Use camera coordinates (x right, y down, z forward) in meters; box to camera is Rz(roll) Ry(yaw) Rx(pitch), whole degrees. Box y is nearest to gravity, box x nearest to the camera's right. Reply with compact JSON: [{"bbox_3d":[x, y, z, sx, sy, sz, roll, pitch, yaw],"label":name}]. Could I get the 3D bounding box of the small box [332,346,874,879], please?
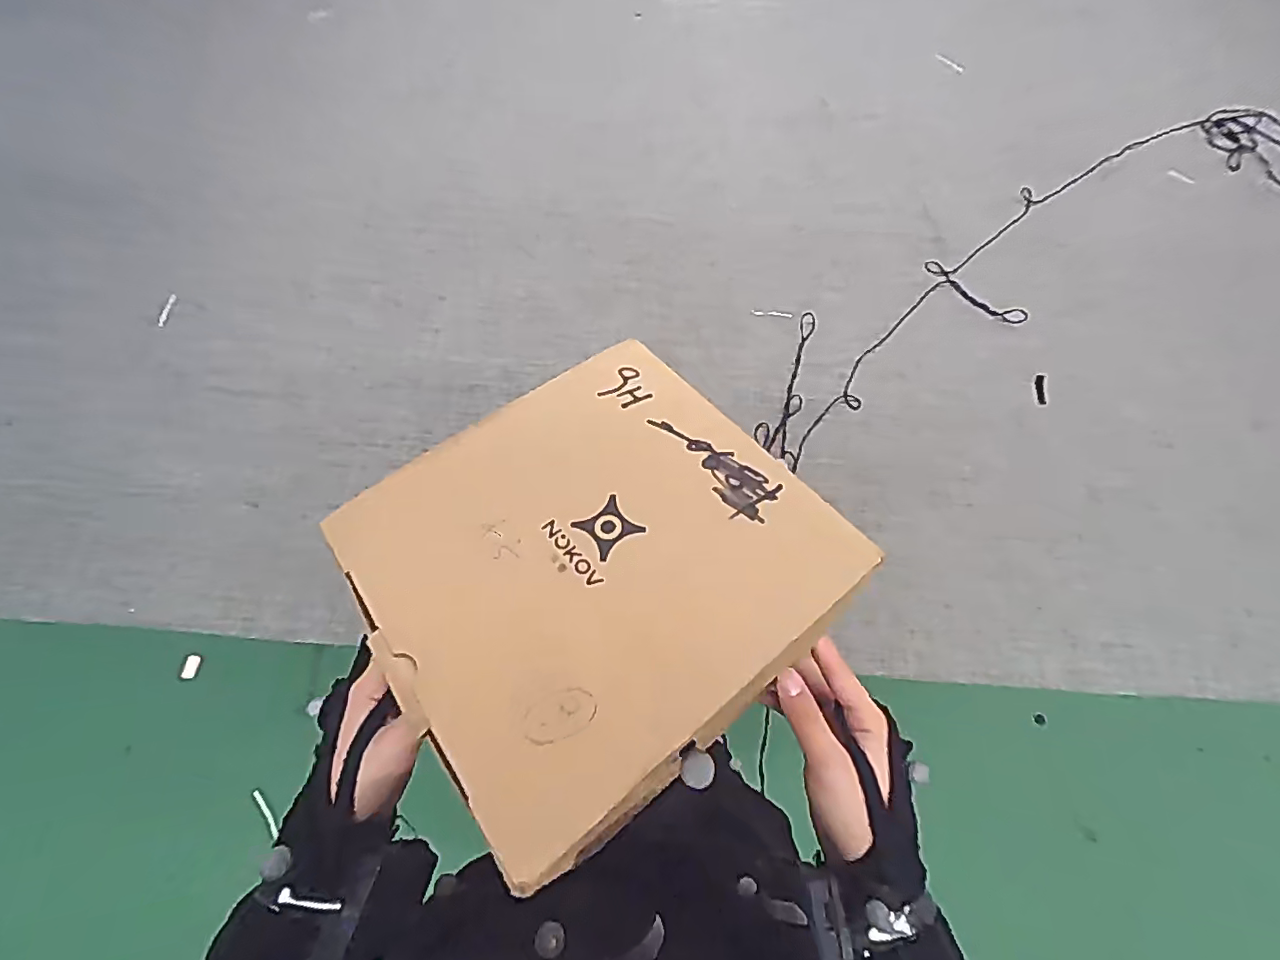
[{"bbox_3d":[-0.015,0.070,0.292,0.179,0.176,0.168,-35,62,-18],"label":"small box"}]
